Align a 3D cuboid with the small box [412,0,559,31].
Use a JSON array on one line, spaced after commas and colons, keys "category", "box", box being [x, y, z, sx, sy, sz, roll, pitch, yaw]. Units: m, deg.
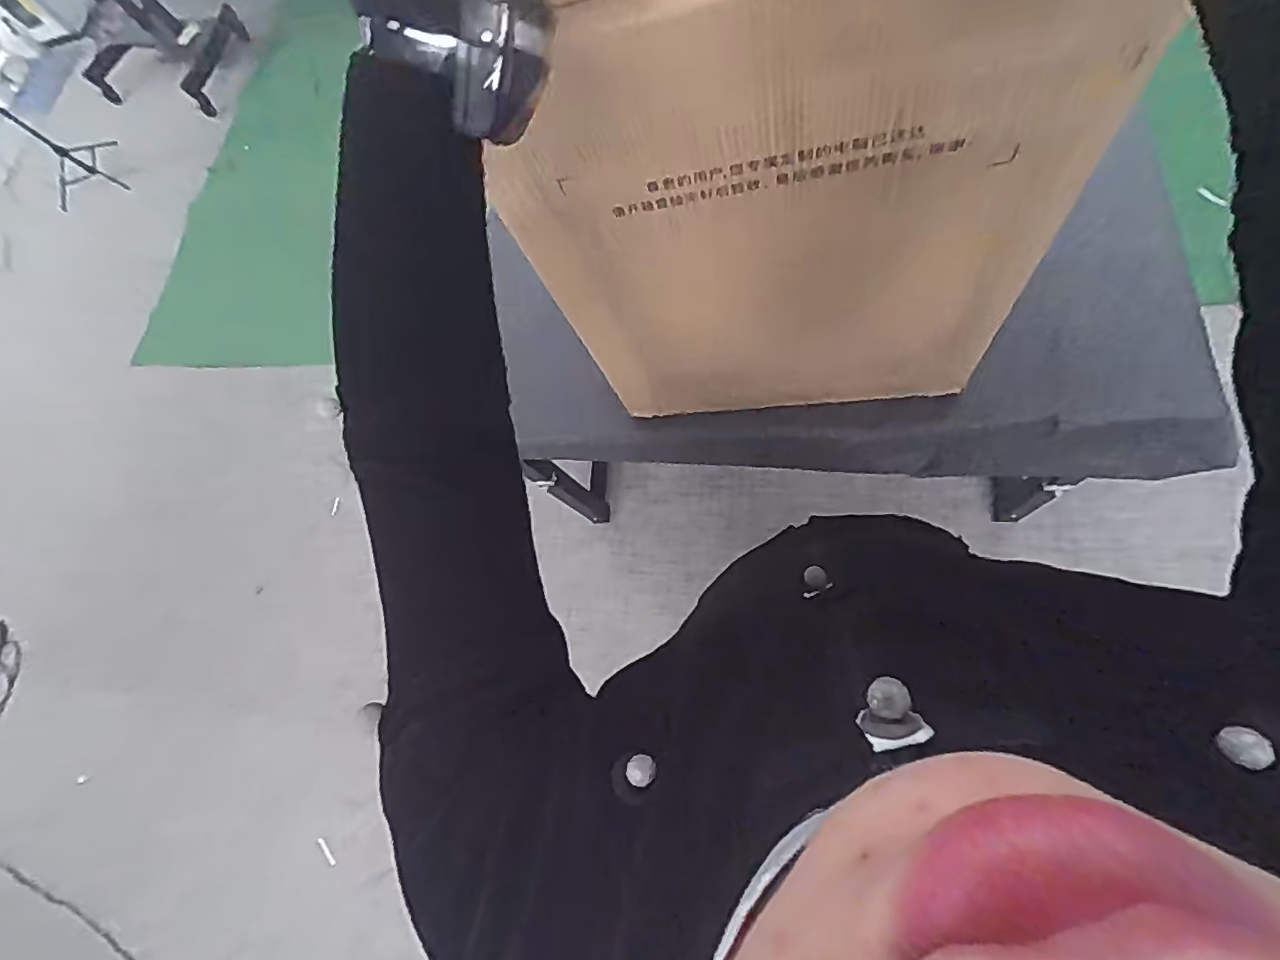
[{"category": "small box", "box": [-0.095, -0.430, 0.331, 0.179, 0.176, 0.168, -3, 73, 16]}]
